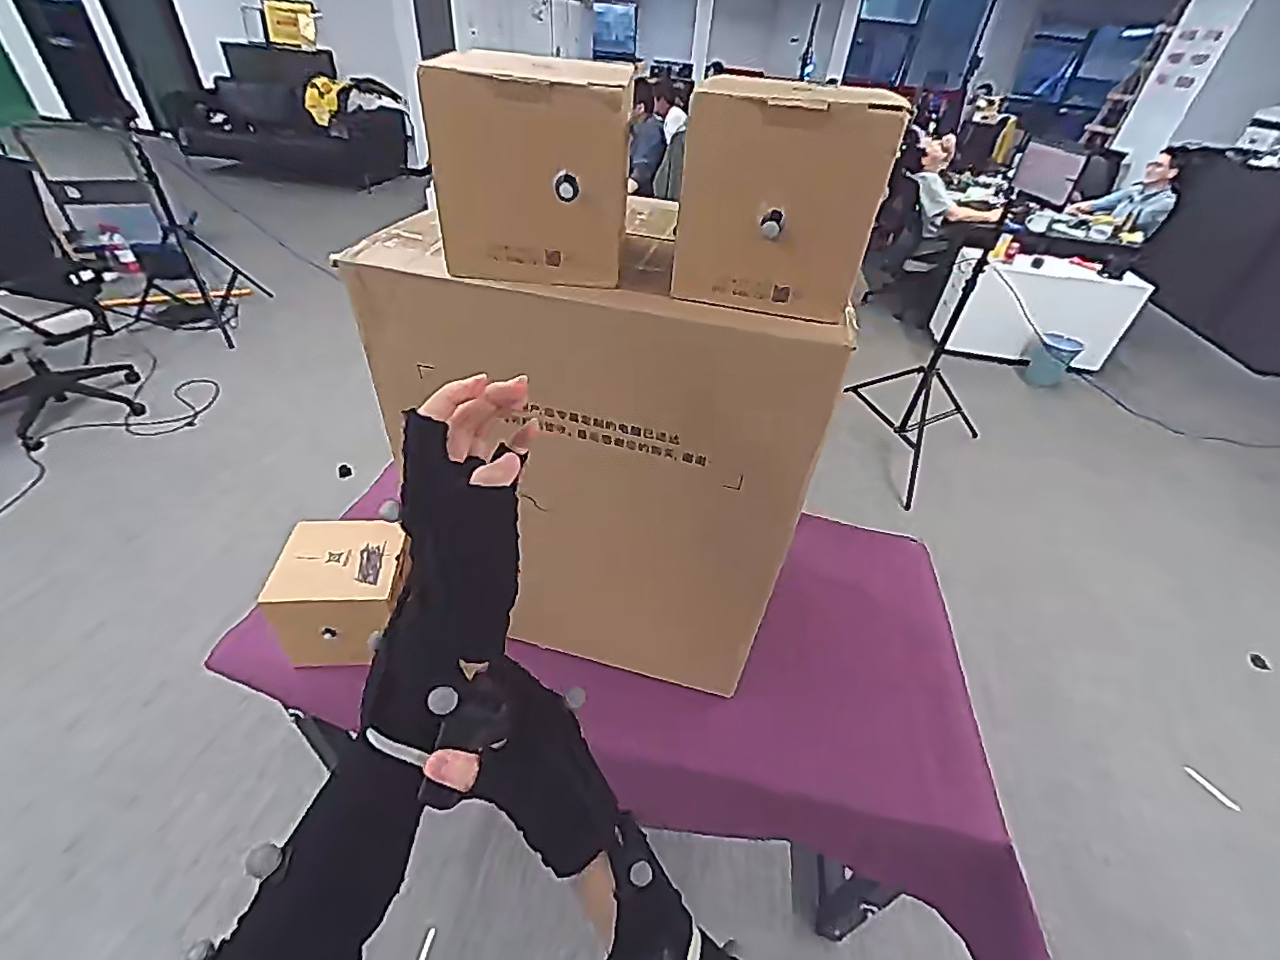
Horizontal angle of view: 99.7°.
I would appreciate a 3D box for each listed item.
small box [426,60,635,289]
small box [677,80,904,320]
[{"bbox_3d":[-0.094,-0.307,0.546,0.168,0.176,0.179,5,40,-3],"label":"small box"},{"bbox_3d":[0.135,-0.274,0.528,0.168,0.176,0.179,12,41,8],"label":"small box"}]
